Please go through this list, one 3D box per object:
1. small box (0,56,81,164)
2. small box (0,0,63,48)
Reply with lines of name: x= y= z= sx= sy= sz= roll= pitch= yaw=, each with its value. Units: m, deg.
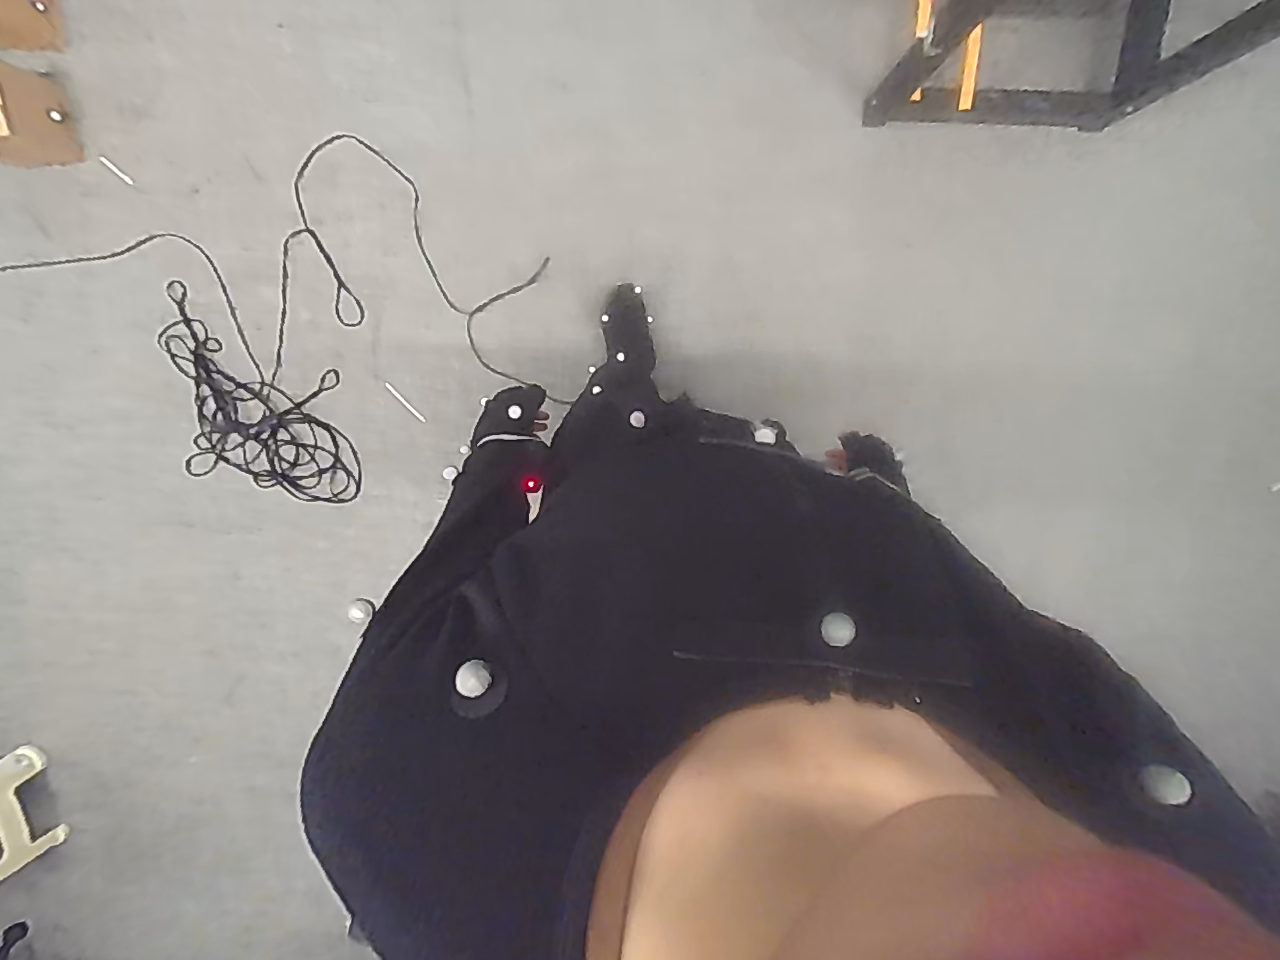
small box: x=-1.474 y=-0.851 z=1.247 sx=0.179 sy=0.176 sz=0.168 roll=-5 pitch=103 yaw=2
small box: x=-1.460 y=-1.098 z=1.198 sx=0.179 sy=0.176 sz=0.168 roll=3 pitch=102 yaw=-1
